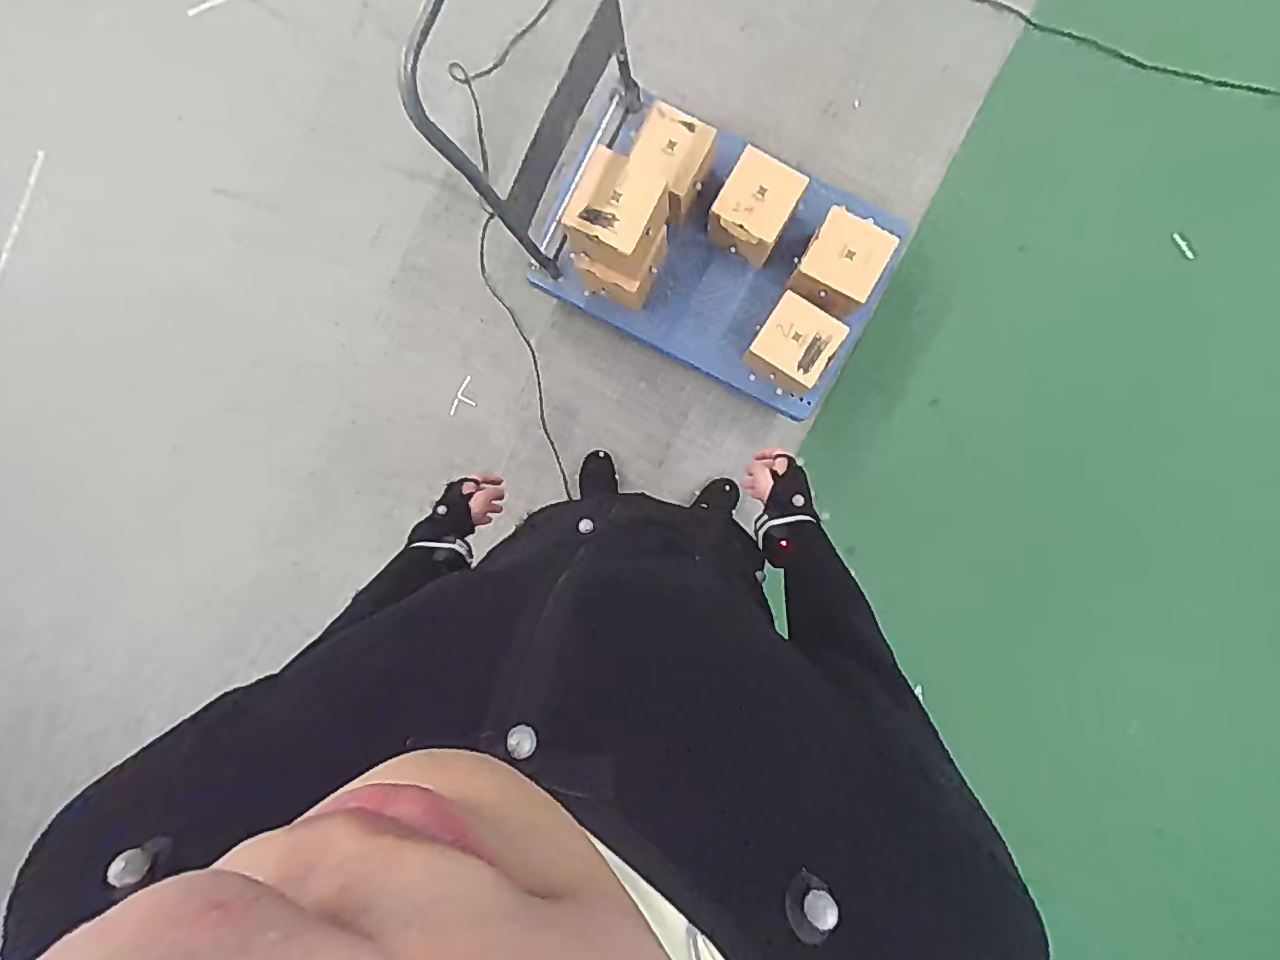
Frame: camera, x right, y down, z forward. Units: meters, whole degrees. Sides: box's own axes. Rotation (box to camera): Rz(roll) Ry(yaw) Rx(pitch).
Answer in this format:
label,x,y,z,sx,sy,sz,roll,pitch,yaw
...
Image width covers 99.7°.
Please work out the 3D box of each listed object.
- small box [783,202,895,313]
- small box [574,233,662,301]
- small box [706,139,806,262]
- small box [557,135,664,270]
label,x,y,z,sx,sy,sz,roll,pitch,yaw
small box,0.473,-0.530,1.318,0.179,0.176,0.168,29,95,1
small box,-0.057,-0.579,1.350,0.168,0.176,0.179,-32,91,6
small box,0.272,-0.671,1.320,0.168,0.176,0.179,31,95,1
small box,-0.056,-0.590,1.177,0.168,0.176,0.179,28,94,0
